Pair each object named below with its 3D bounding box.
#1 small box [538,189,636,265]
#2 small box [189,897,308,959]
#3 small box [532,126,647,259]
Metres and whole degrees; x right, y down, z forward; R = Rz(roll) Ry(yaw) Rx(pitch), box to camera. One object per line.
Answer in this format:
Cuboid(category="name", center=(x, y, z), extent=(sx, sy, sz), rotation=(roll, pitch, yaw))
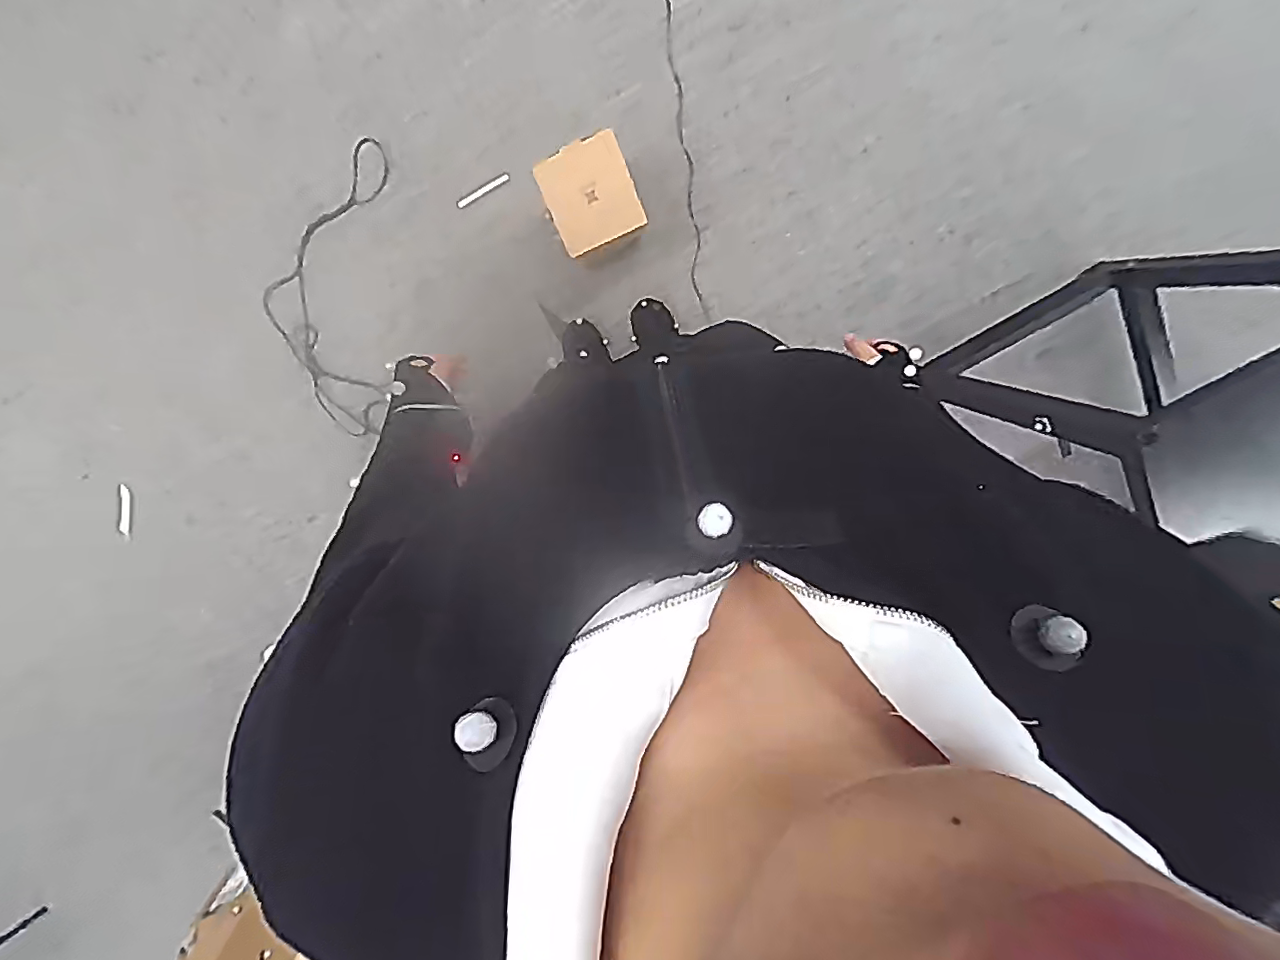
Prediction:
Cuboid(category="small box", center=(-0.109, -0.612, 1.244), extent=(0.179, 0.176, 0.168), rotation=(-28, 108, 7))
Cuboid(category="small box", center=(-0.939, 1.132, 1.270), extent=(0.168, 0.176, 0.179), rotation=(-36, 106, 6))
Cuboid(category="small box", center=(-0.098, -0.565, 1.088), extent=(0.168, 0.176, 0.179), rotation=(-23, 109, 5))
